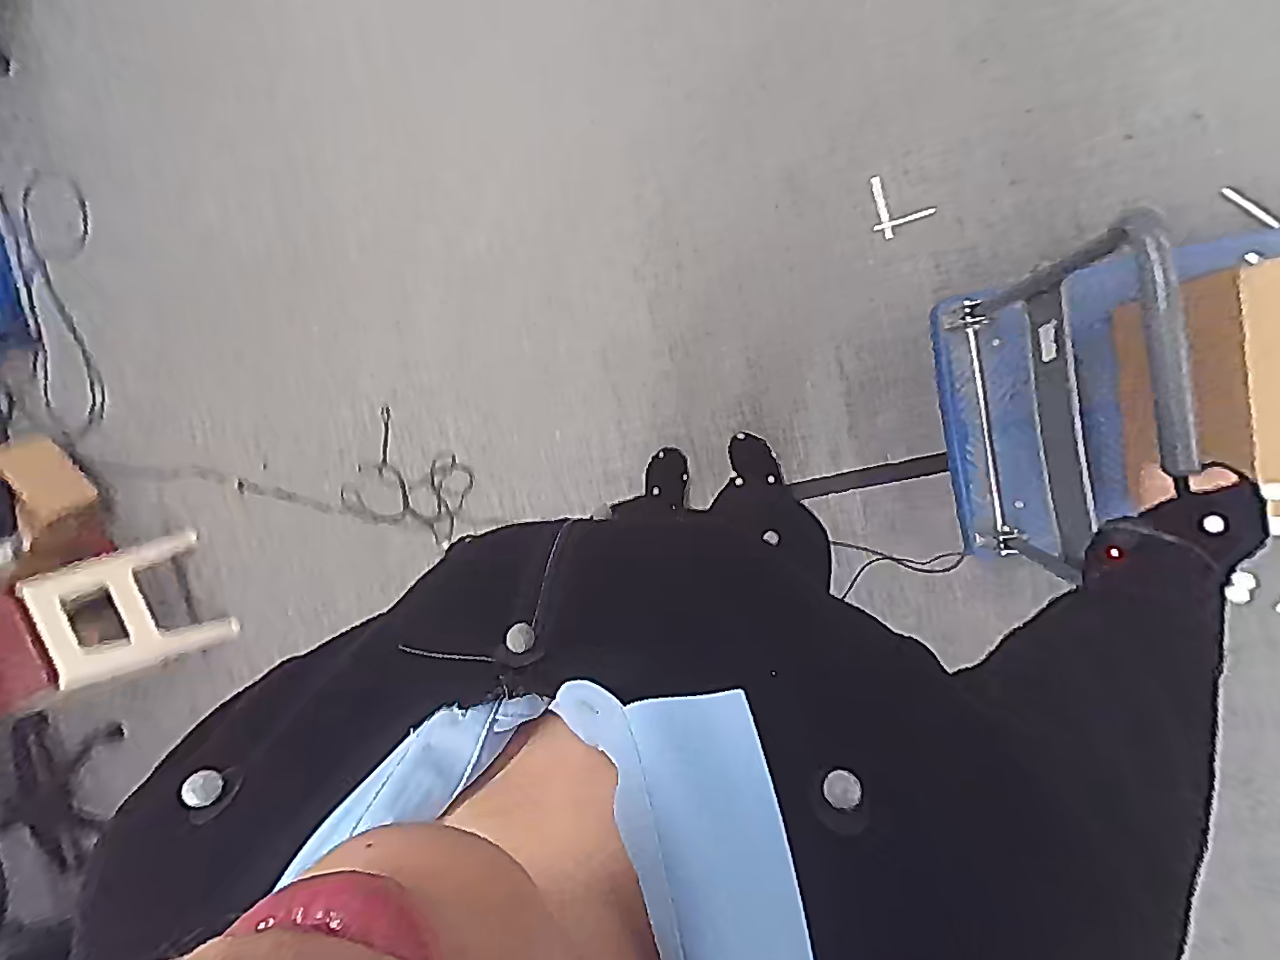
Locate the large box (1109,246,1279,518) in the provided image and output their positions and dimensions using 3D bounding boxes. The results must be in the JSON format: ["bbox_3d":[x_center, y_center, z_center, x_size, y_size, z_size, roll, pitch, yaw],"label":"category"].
[{"bbox_3d":[1.086,-0.170,0.919,0.320,0.320,0.408,-9,92,12],"label":"large box"}]
